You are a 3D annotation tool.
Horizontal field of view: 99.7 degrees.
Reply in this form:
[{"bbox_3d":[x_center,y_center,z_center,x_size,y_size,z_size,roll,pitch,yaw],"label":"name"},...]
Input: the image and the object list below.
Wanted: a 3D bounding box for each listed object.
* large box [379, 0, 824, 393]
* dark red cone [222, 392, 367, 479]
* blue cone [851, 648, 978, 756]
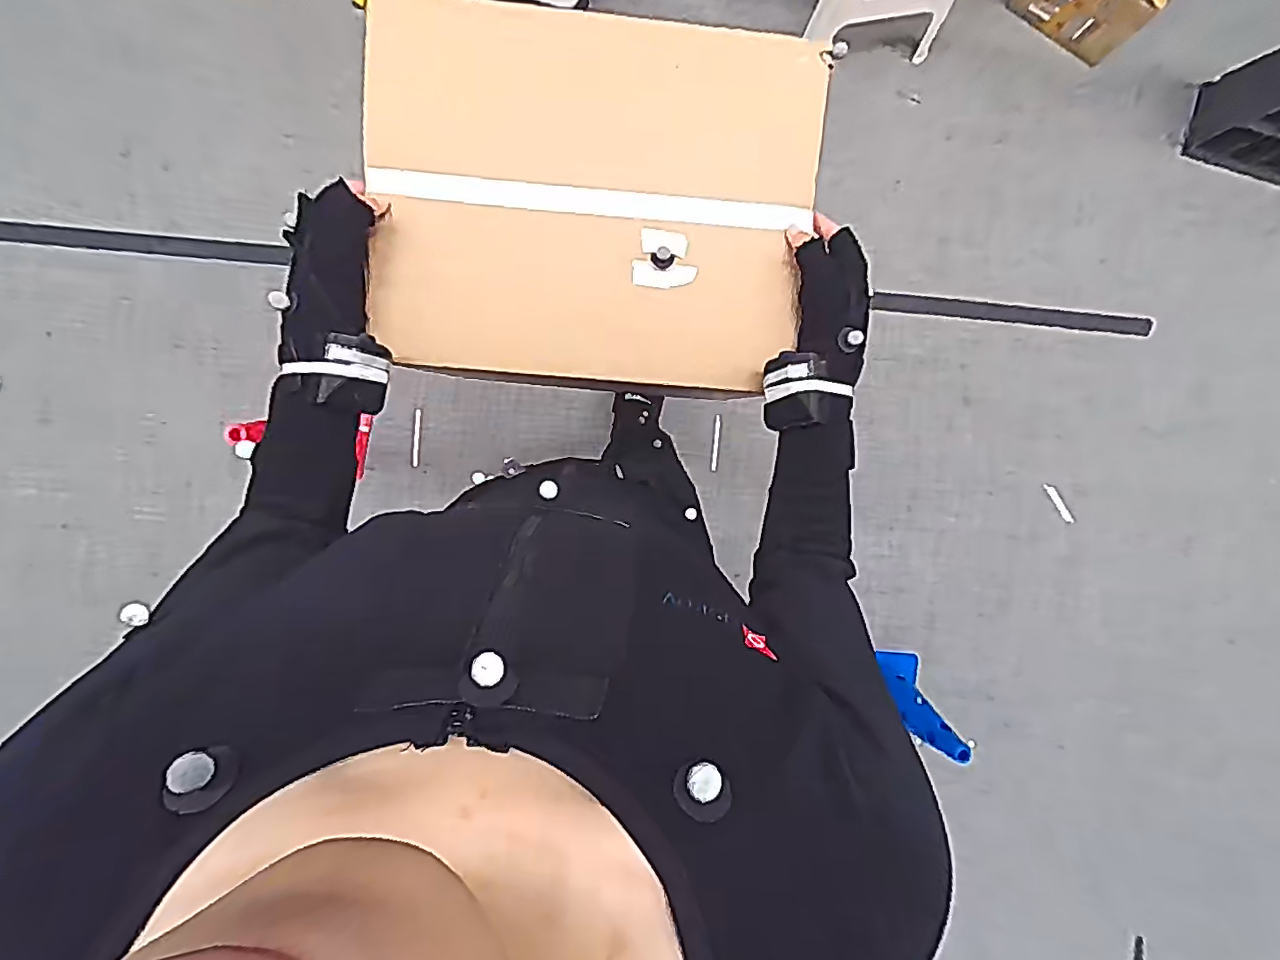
[{"bbox_3d":[-0.047,-0.276,0.647,0.408,0.320,0.320,4,97,-4],"label":"large box"},{"bbox_3d":[-0.795,-0.105,1.221,0.201,0.394,0.202,10,93,-5],"label":"dark red cone"},{"bbox_3d":[0.715,0.588,1.390,0.192,0.380,0.193,8,93,-5],"label":"blue cone"}]
